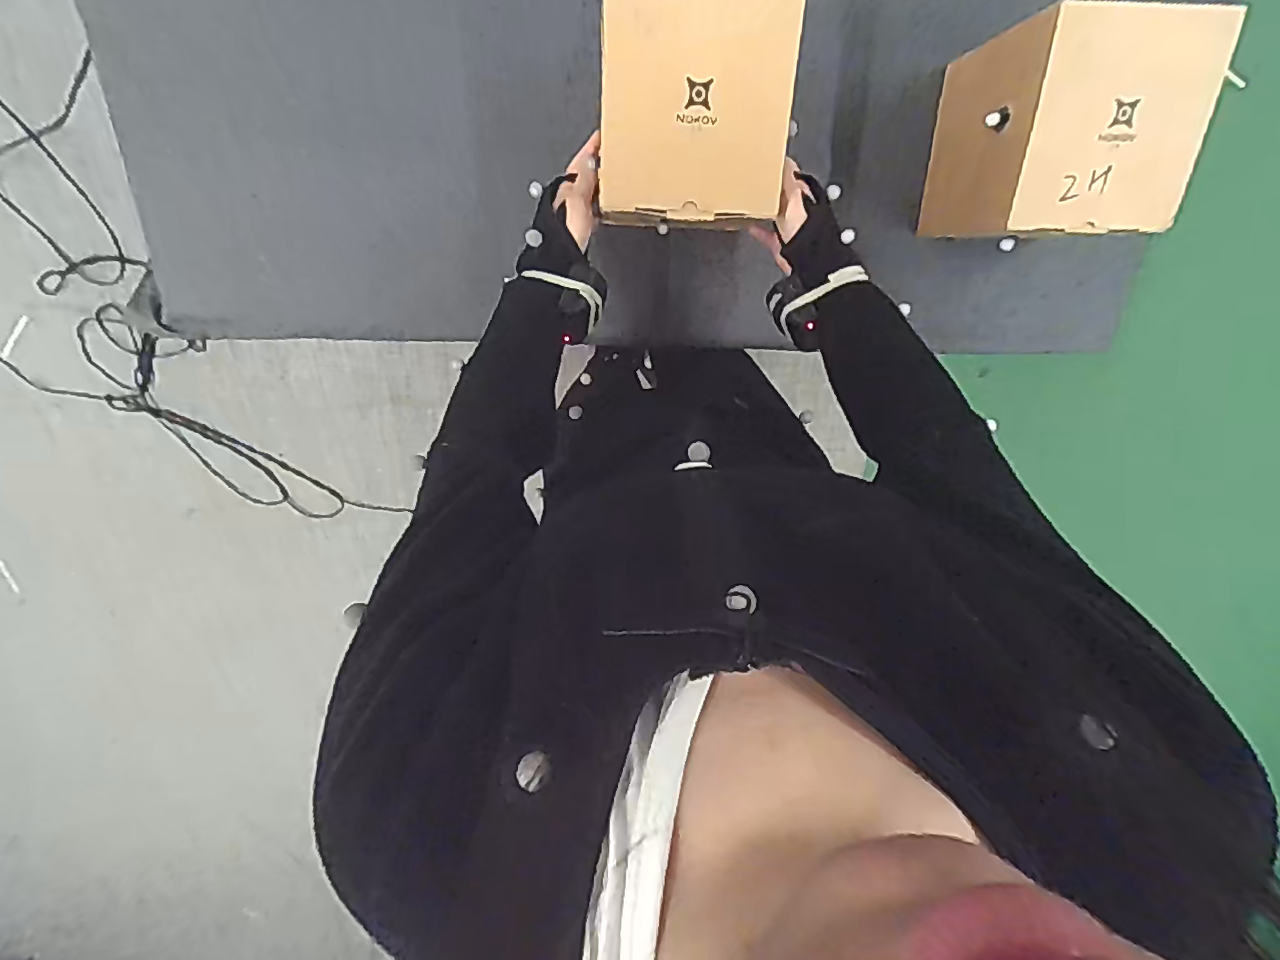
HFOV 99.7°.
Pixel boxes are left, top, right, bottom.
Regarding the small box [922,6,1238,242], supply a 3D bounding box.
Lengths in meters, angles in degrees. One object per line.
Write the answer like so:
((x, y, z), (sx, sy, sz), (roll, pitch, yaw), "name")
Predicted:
((0.422, -0.345, 0.559), (0.168, 0.176, 0.179), (0, 113, -1), "small box")
